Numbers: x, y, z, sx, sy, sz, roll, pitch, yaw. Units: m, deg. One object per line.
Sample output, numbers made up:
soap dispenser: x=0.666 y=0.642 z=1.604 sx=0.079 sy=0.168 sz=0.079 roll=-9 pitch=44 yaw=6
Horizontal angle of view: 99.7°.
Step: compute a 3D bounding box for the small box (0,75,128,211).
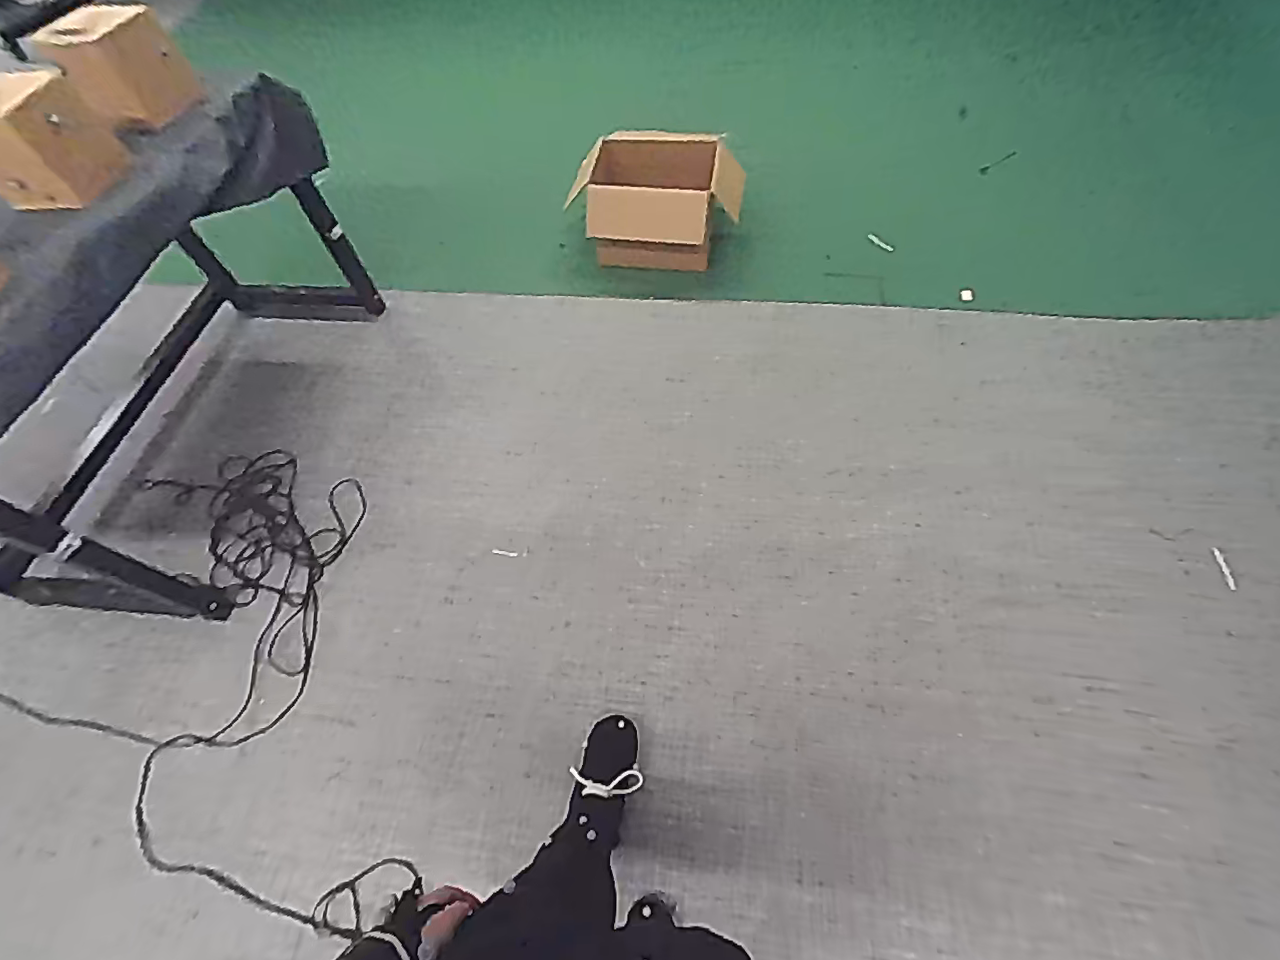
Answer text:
small box: x=-1.169 y=-0.653 z=1.051 sx=0.168 sy=0.176 sz=0.179 roll=2 pitch=60 yaw=4
